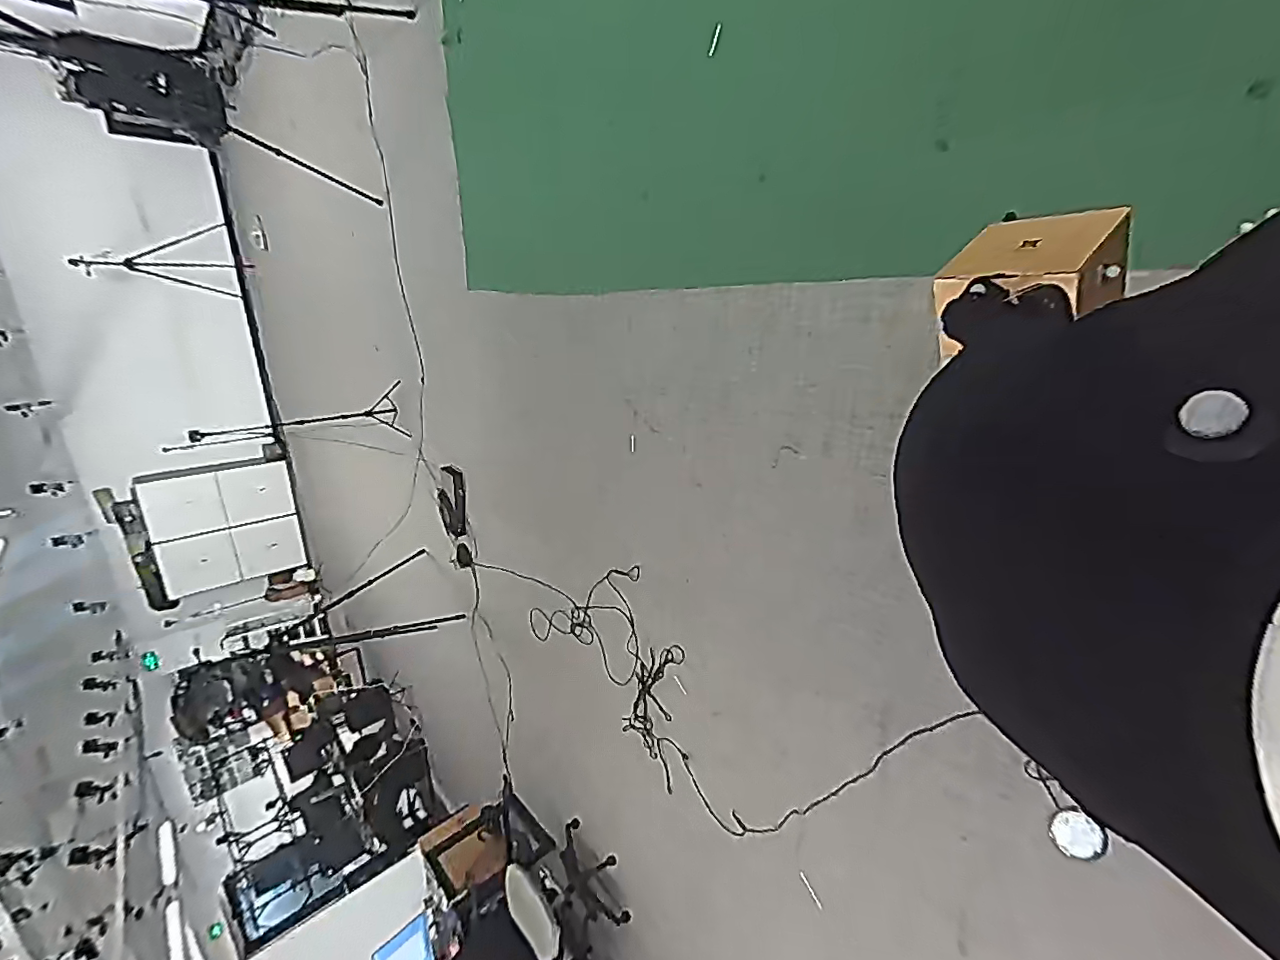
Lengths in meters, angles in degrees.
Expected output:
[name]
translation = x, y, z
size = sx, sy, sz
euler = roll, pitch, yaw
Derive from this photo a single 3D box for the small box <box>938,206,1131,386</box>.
[small box]
translation = 0.549, -0.256, 0.762
size = 0.168, 0.179, 0.176
euler = 21, 145, 50
